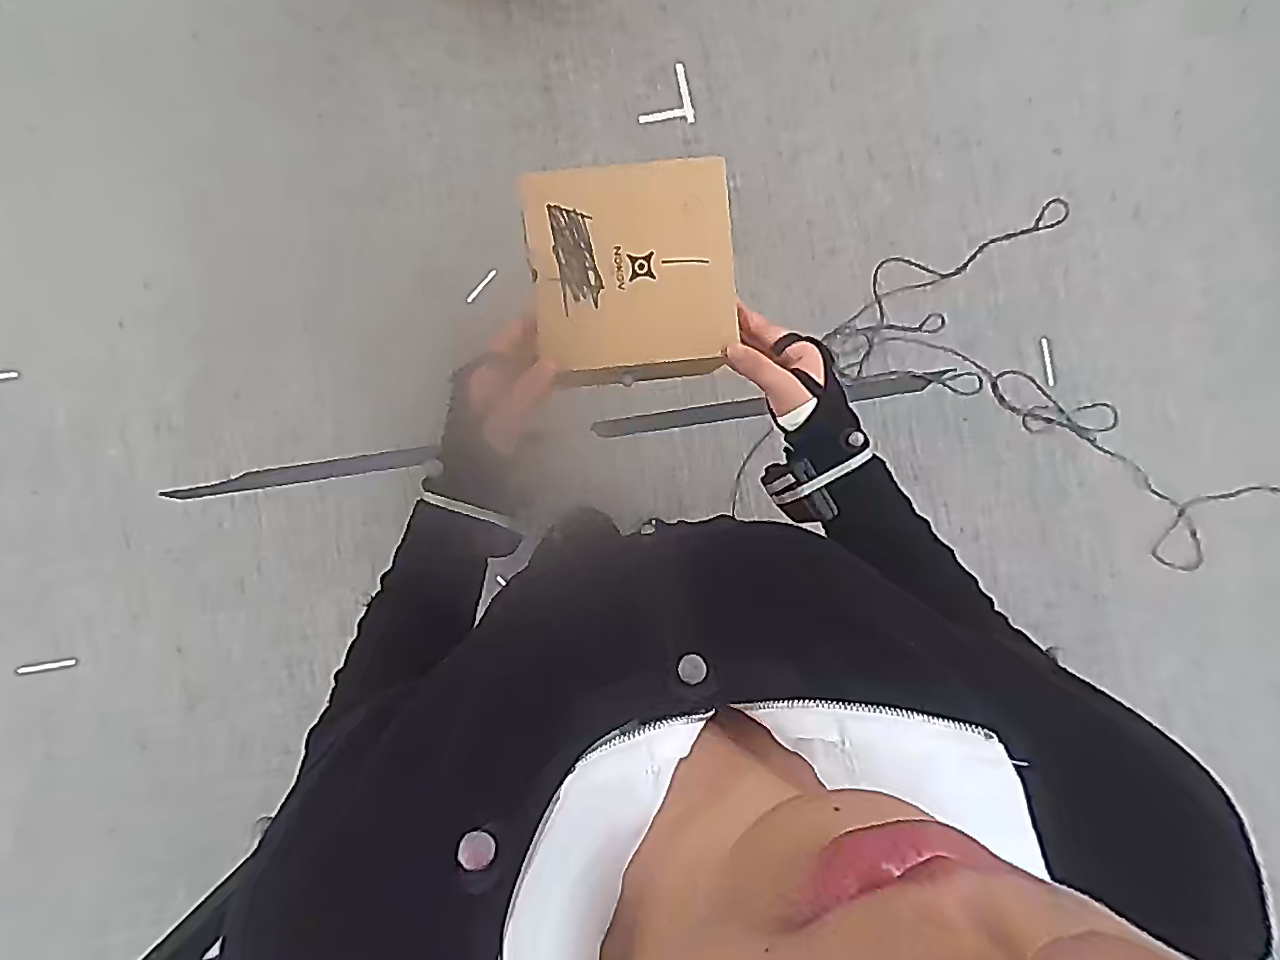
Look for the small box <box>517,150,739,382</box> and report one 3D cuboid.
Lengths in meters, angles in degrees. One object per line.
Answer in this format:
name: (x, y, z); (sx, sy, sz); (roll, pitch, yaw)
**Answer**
small box: (-0.012, -0.193, 0.535); (0.179, 0.176, 0.168); (-6, 95, -3)
